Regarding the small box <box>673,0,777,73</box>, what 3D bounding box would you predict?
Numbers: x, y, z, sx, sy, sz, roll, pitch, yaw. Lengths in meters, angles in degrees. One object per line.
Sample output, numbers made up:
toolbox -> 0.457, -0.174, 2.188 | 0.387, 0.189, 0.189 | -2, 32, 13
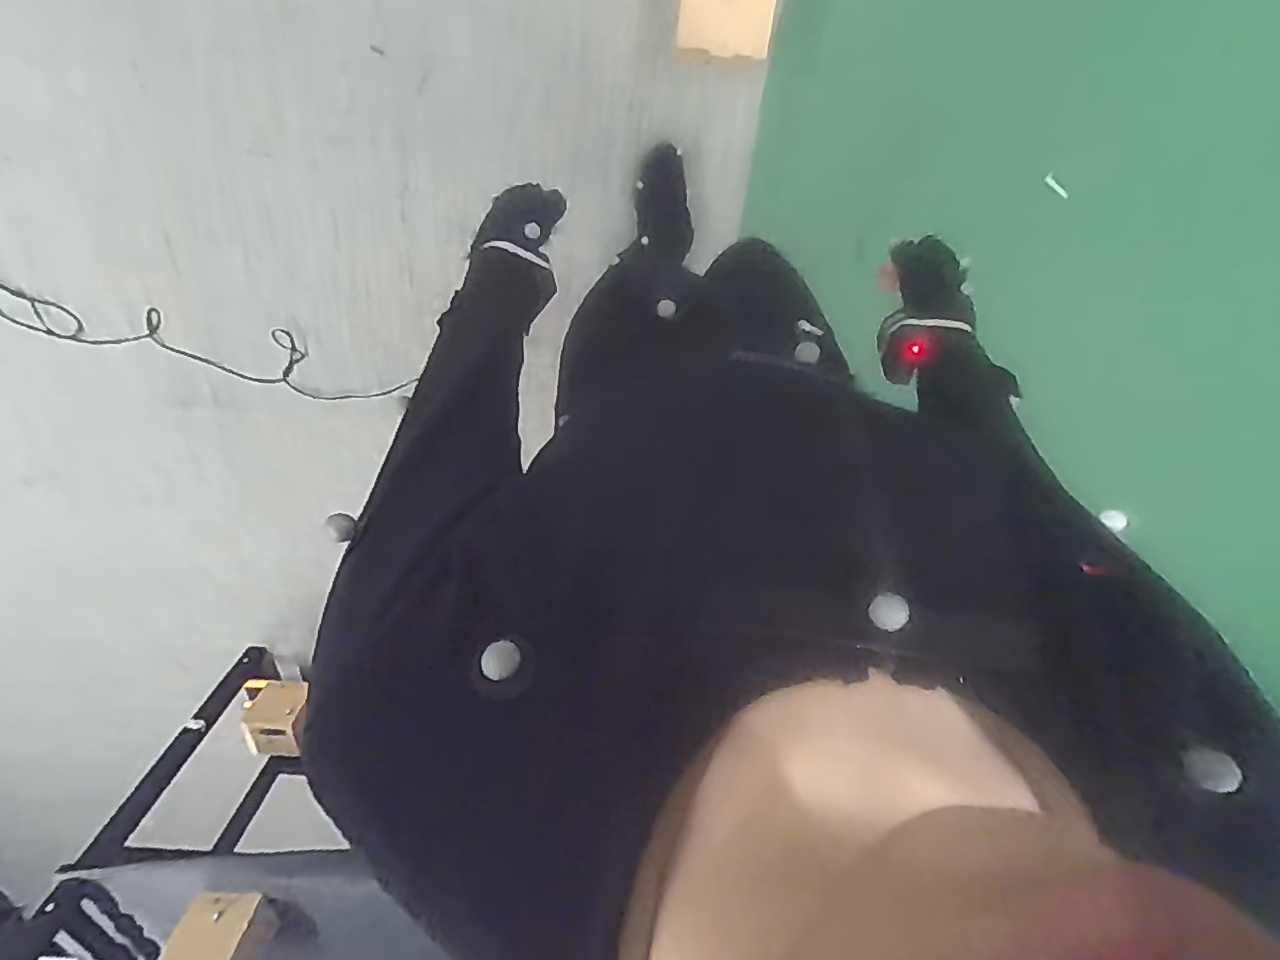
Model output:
small box -> 0.155, -0.877, 0.991 | 0.168, 0.176, 0.179 | 6, 120, -3

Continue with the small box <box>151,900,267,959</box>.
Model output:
small box -> -1.061, 1.172, 1.329 | 0.168, 0.176, 0.179 | 4, 121, -4
